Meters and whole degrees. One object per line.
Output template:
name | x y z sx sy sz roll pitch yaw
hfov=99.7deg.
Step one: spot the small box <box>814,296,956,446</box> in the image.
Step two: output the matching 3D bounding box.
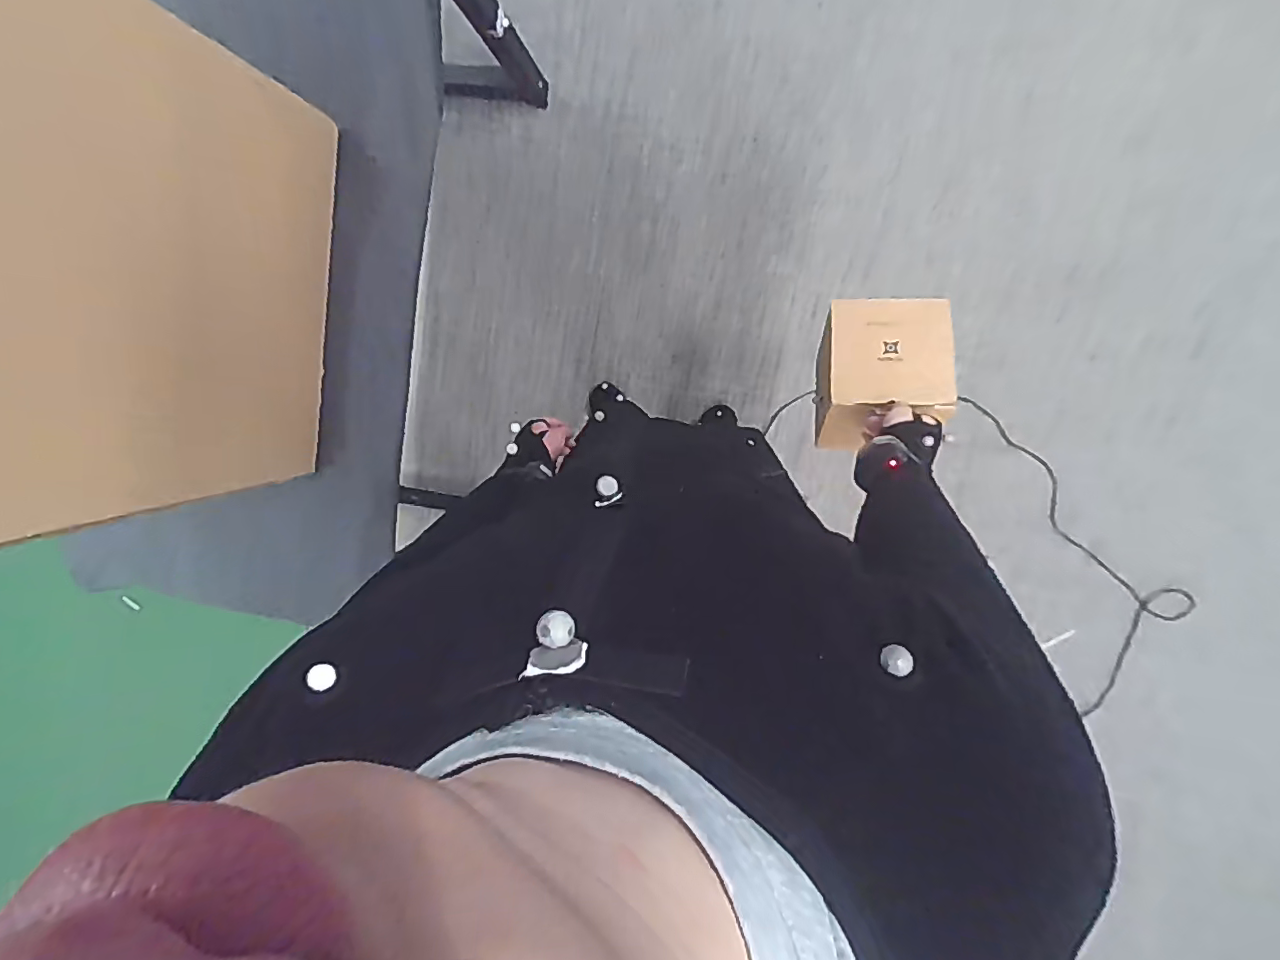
small box | 0.368 -0.162 0.840 0.168 0.176 0.179 3 72 10
